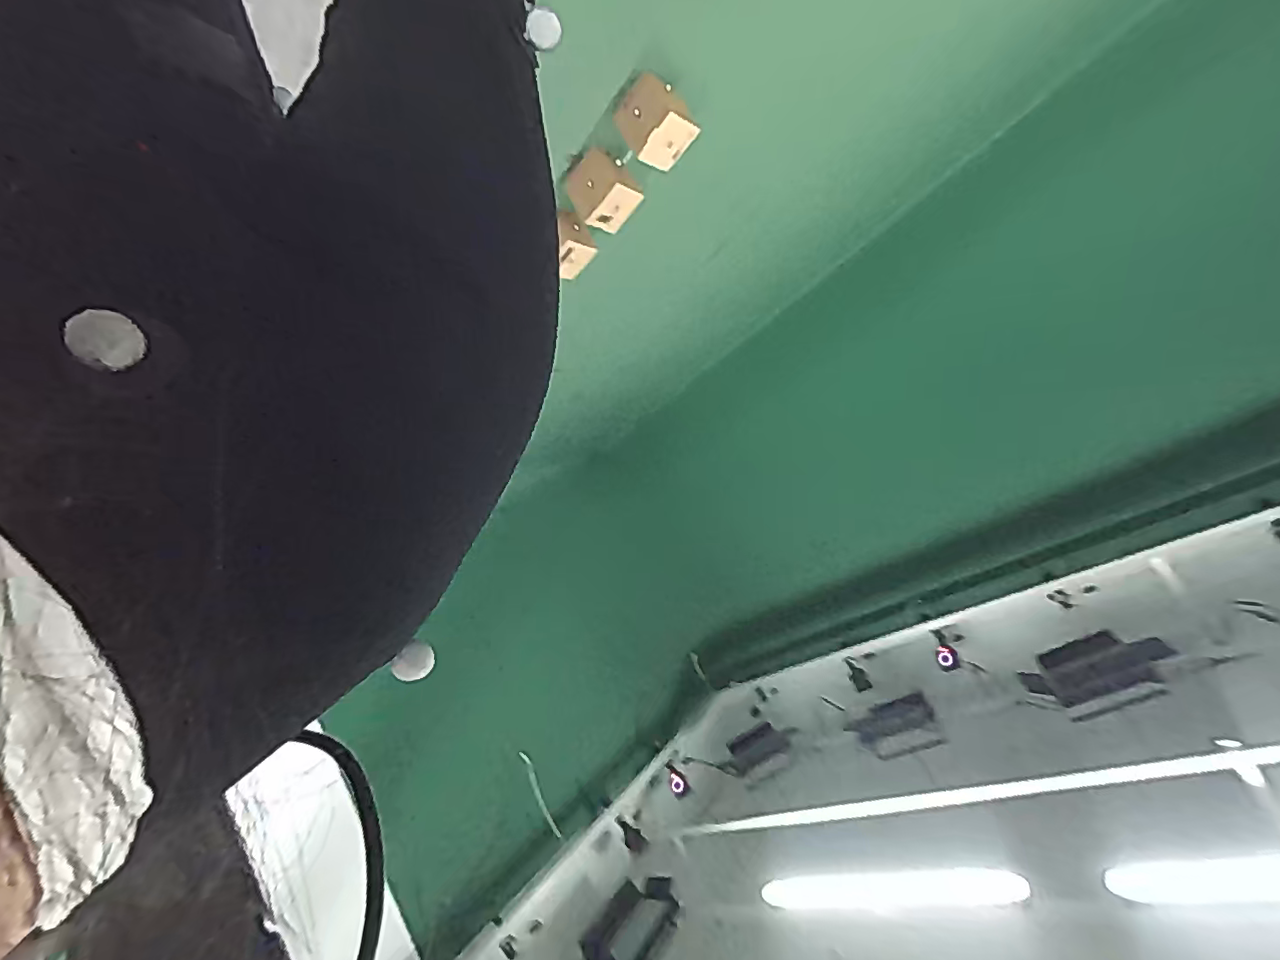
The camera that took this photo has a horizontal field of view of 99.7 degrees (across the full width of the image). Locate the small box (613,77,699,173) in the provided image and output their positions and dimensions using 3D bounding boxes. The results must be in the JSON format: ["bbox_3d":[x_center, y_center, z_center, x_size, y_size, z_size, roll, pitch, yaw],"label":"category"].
[{"bbox_3d":[0.046,-1.117,1.703,0.168,0.176,0.179,-37,168,37],"label":"small box"}]
